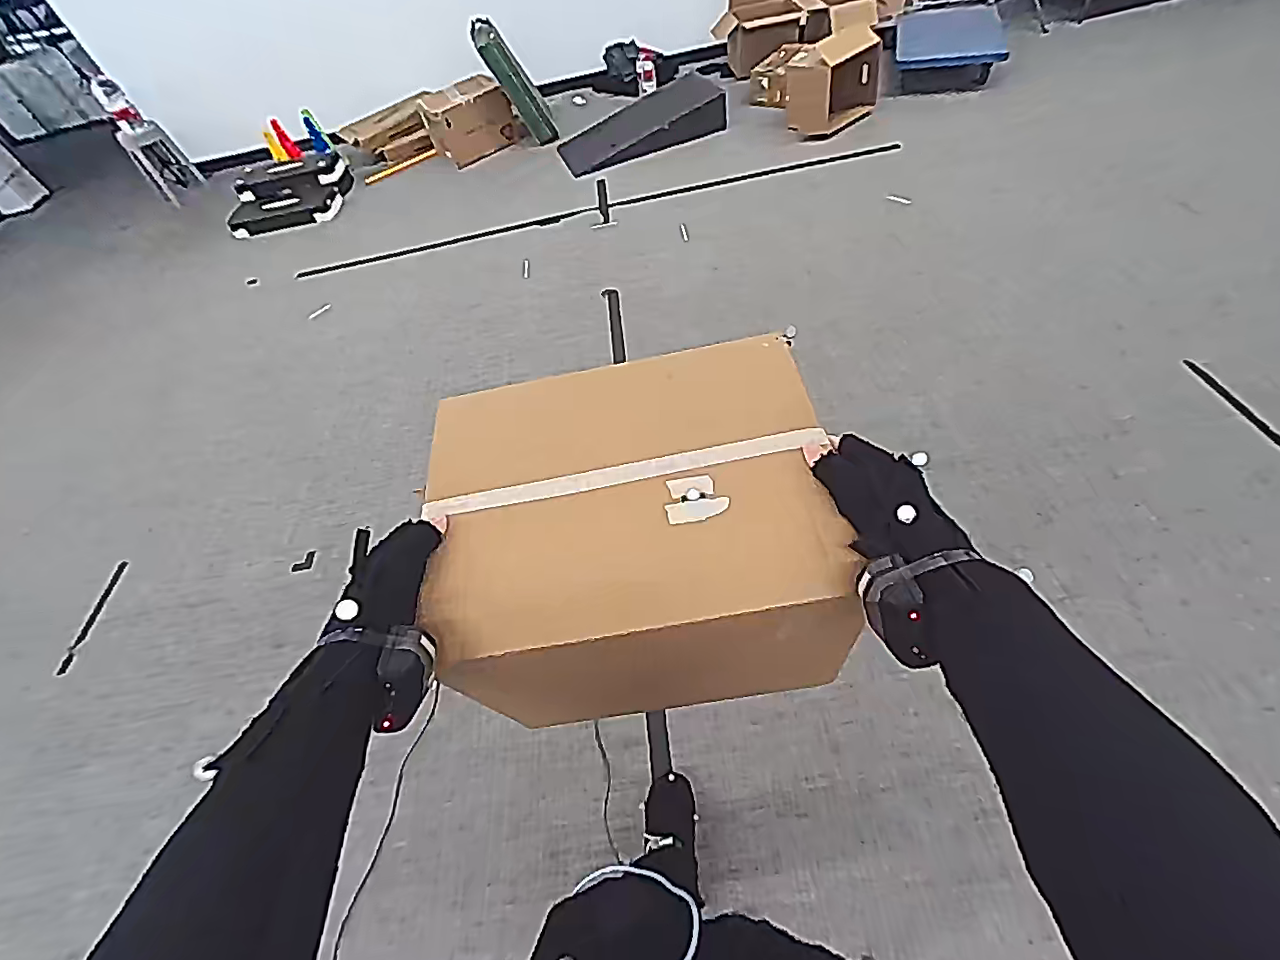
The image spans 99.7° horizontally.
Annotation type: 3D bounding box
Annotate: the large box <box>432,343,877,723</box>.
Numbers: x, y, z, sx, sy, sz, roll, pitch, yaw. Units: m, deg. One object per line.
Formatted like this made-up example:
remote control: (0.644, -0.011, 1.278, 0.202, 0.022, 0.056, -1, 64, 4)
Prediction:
large box: (0.010, 0.082, 0.672, 0.408, 0.320, 0.320, -10, 56, 3)
